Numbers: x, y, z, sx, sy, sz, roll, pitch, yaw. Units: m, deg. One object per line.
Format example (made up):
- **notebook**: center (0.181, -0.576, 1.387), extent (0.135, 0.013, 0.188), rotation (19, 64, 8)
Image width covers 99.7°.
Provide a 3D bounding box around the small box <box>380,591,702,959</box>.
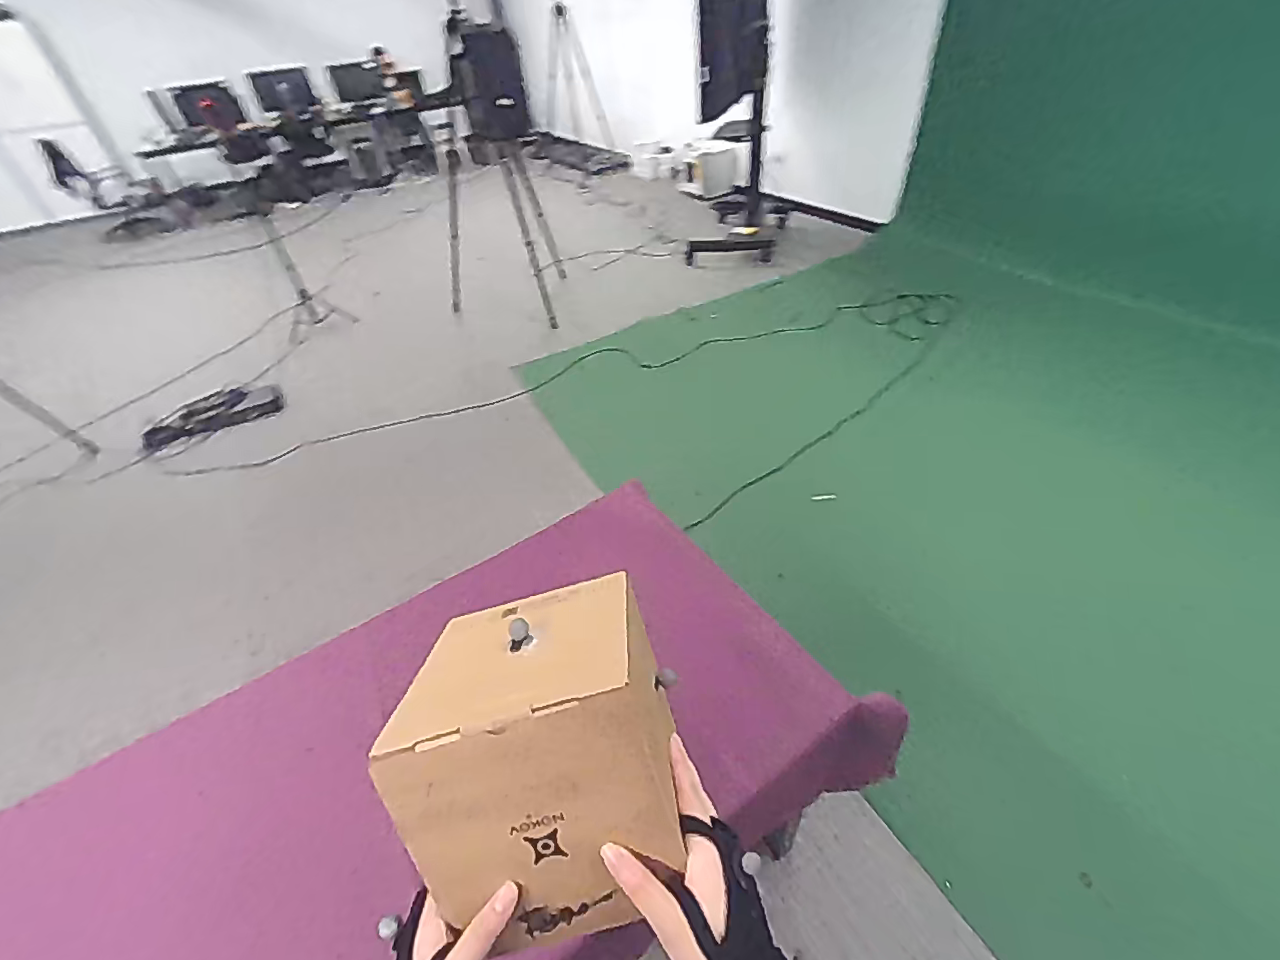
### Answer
- **small box**: center (-0.060, 0.203, 0.419), extent (0.168, 0.179, 0.176), rotation (-15, 14, 3)
